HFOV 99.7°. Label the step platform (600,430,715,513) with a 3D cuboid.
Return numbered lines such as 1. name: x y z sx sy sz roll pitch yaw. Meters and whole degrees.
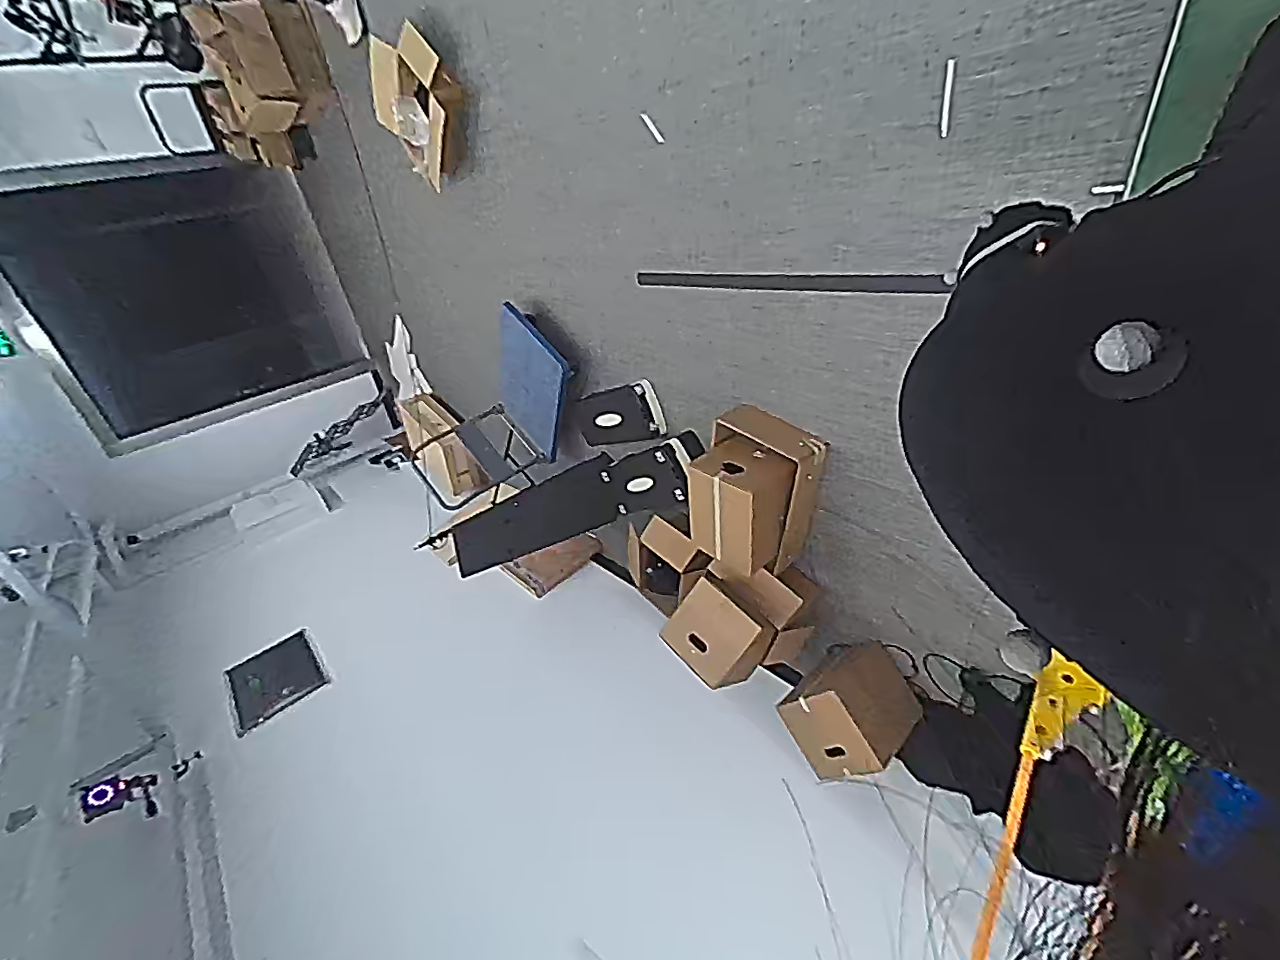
1. step platform: 0.060 -0.023 2.718 0.684 0.204 0.286 -19 100 57
